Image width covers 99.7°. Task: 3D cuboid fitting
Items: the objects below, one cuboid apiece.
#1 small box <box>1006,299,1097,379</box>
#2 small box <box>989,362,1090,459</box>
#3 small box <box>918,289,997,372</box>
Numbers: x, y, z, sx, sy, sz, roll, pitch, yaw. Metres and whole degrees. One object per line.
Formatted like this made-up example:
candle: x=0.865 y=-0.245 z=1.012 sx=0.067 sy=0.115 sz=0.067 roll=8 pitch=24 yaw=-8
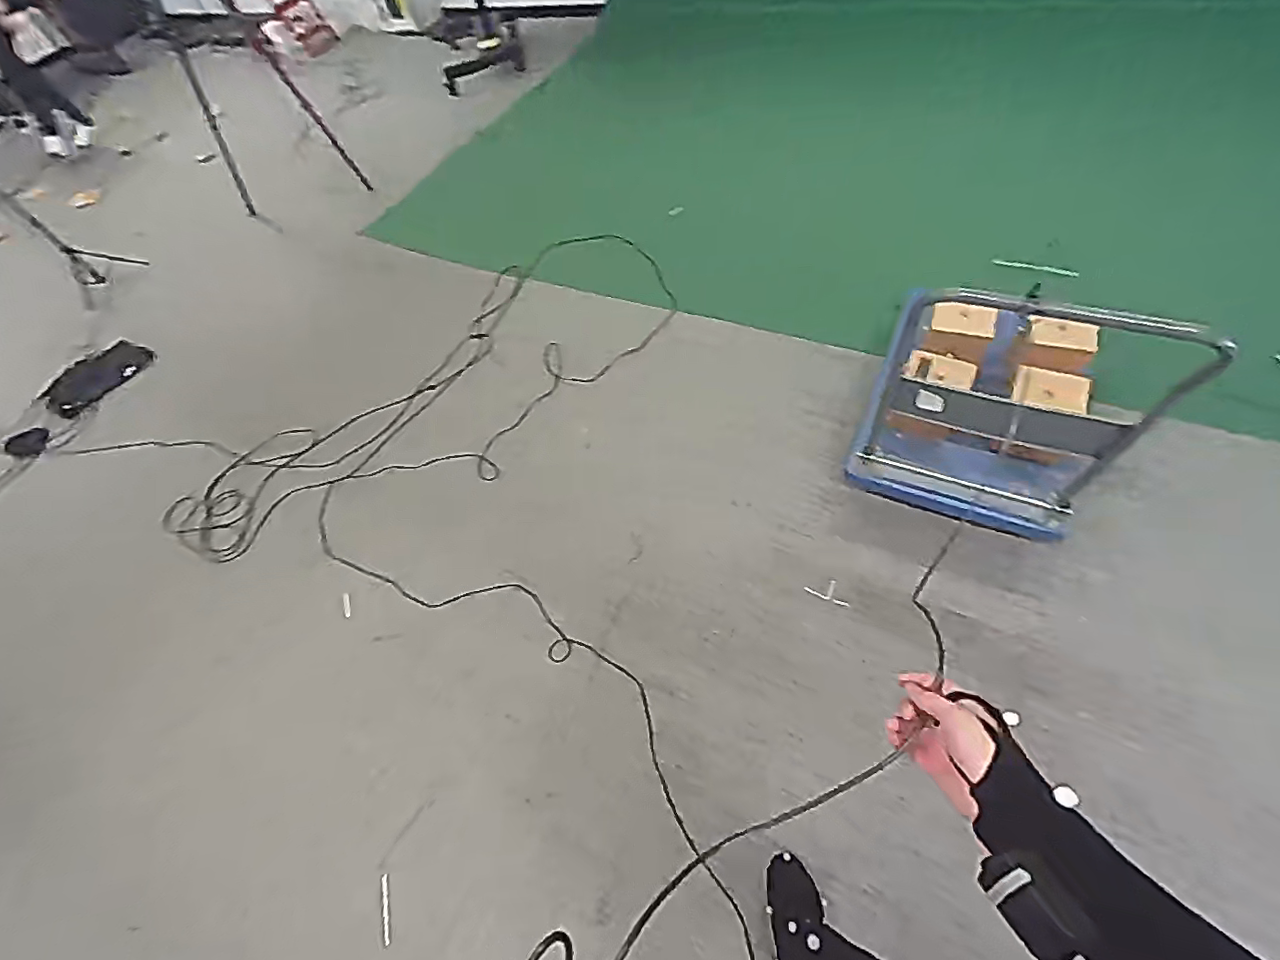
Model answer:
small box: x=1.216 y=-0.405 z=1.604 sx=0.168 sy=0.176 sz=0.179 roll=15 pitch=63 yaw=21
small box: x=1.095 y=-0.190 z=1.492 sx=0.168 sy=0.176 sz=0.179 roll=20 pitch=65 yaw=22
small box: x=0.987 y=-0.465 z=1.691 sx=0.168 sy=0.176 sz=0.179 roll=16 pitch=62 yaw=20
